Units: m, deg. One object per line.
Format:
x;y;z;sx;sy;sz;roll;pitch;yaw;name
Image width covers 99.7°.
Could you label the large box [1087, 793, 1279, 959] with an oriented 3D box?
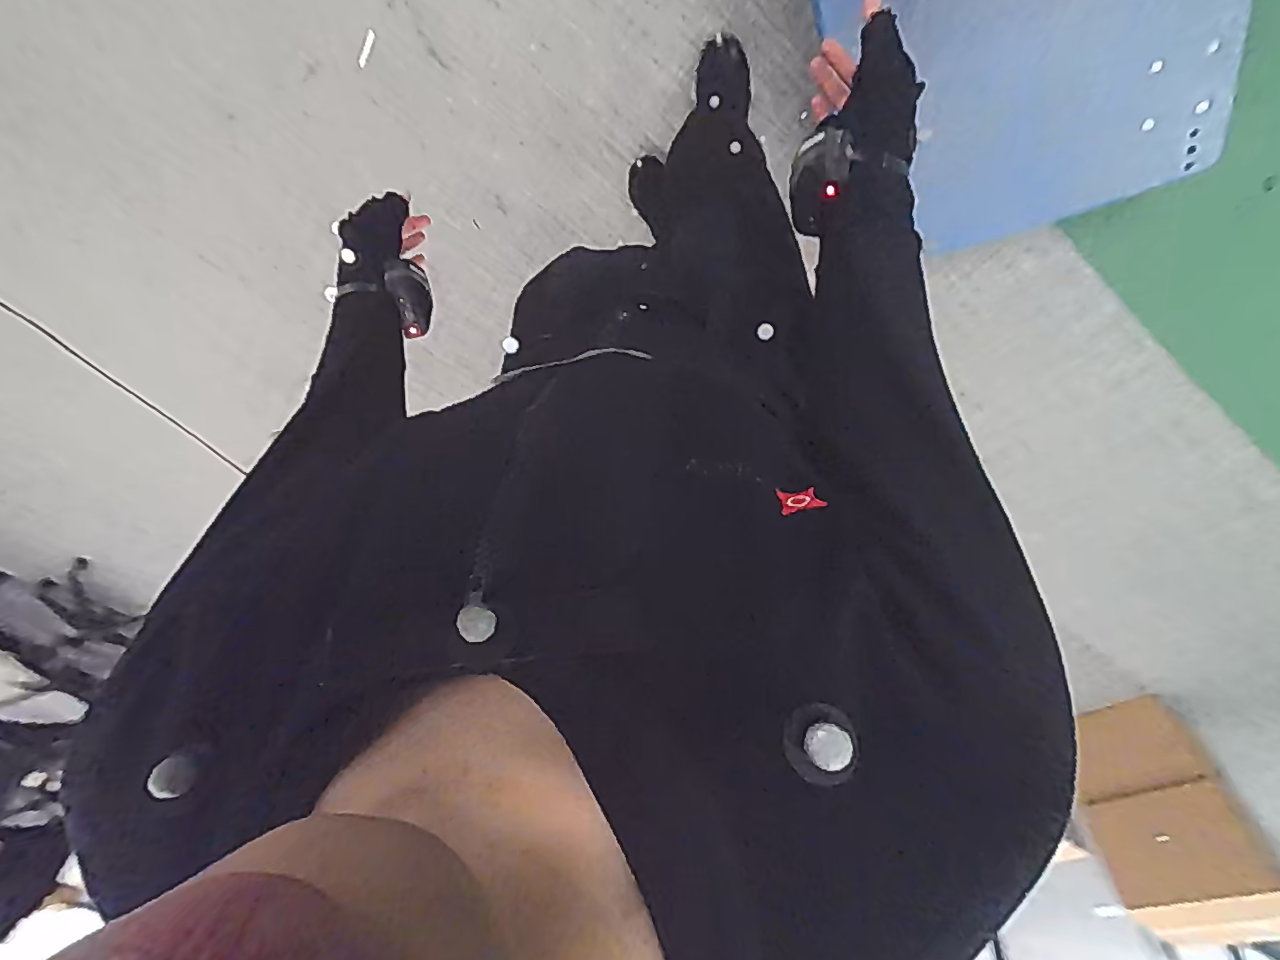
1.751;1.249;1.680;0.320;0.320;0.408;37;123;-13;large box
